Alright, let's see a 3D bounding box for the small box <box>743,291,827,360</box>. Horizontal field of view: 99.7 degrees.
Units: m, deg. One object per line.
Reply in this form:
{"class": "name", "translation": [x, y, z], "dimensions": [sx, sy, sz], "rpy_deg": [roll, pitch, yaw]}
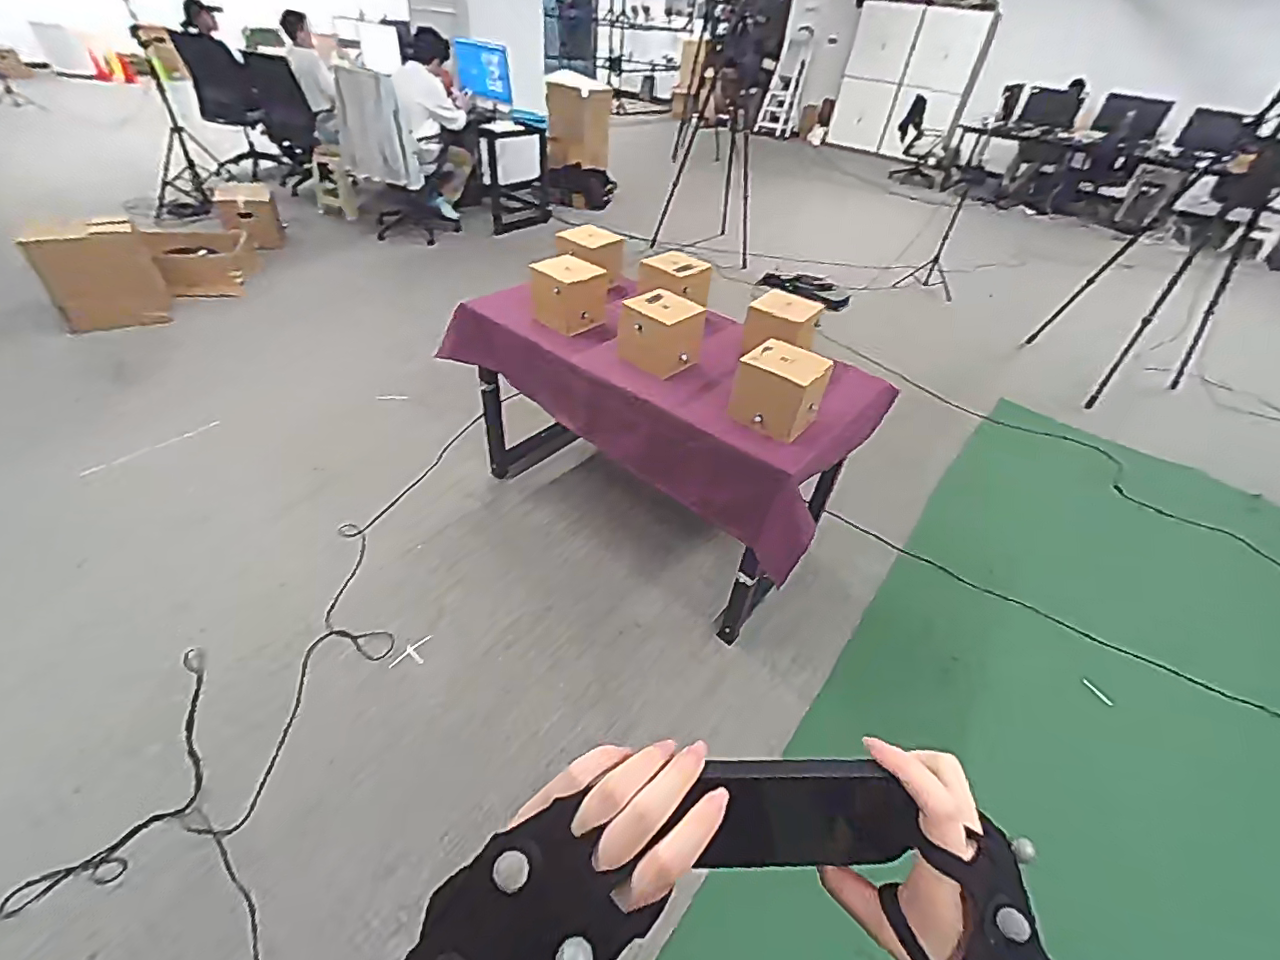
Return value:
{"class": "small box", "translation": [0.423, -0.432, 1.601], "dimensions": [0.168, 0.176, 0.179], "rpy_deg": [29, 46, 25]}

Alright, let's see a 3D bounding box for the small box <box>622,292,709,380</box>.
{"class": "small box", "translation": [0.066, -0.407, 1.528], "dimensions": [0.179, 0.176, 0.168], "rpy_deg": [35, 48, 28]}

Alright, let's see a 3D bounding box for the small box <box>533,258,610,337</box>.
{"class": "small box", "translation": [-0.214, -0.564, 1.675], "dimensions": [0.179, 0.176, 0.168], "rpy_deg": [33, 47, 26]}

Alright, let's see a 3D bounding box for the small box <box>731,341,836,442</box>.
{"class": "small box", "translation": [0.351, -0.216, 1.342], "dimensions": [0.179, 0.176, 0.168], "rpy_deg": [31, 46, 25]}
